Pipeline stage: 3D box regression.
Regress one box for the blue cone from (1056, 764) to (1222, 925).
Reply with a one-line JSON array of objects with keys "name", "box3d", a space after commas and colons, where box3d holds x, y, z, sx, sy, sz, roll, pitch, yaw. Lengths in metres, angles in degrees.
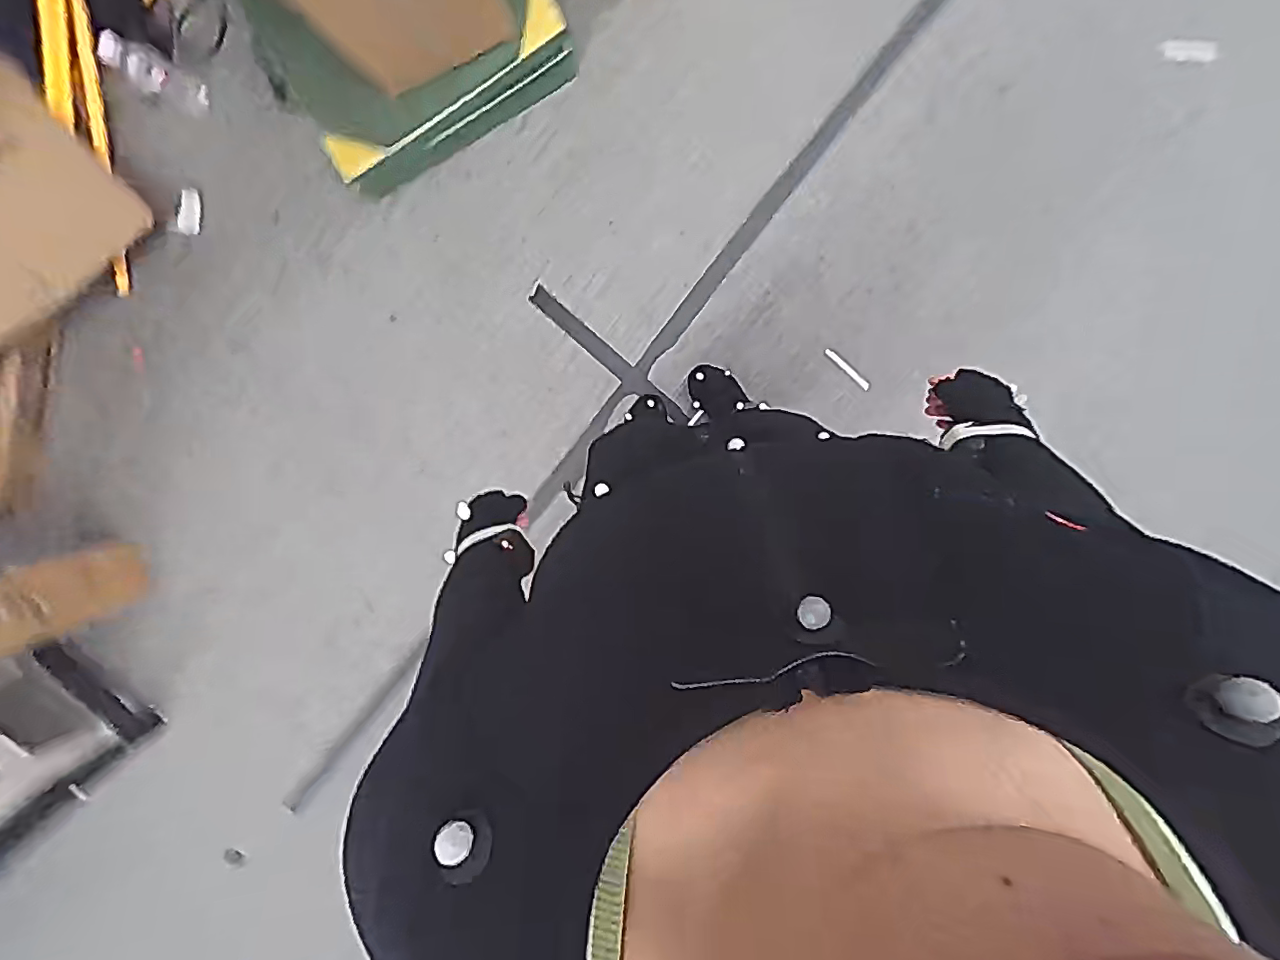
[{"name": "blue cone", "box3d": [1.340, 0.975, 1.427, 0.192, 0.380, 0.193, 38, 101, -6]}]
